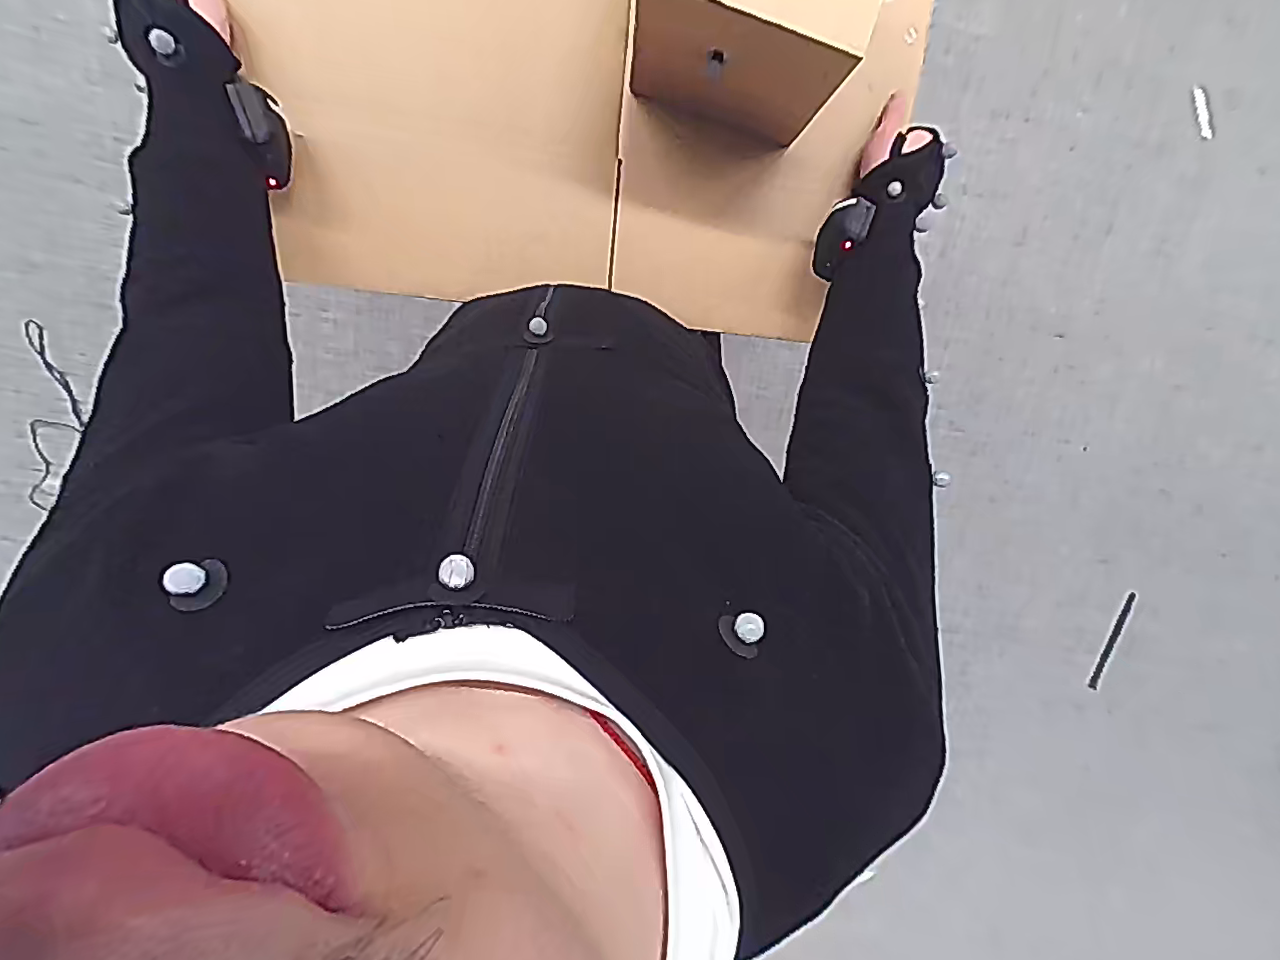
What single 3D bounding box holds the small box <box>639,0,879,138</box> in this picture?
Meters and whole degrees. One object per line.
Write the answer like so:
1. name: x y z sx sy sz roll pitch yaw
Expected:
1. small box: 0.102 -0.430 0.462 0.179 0.176 0.168 15 101 -6
